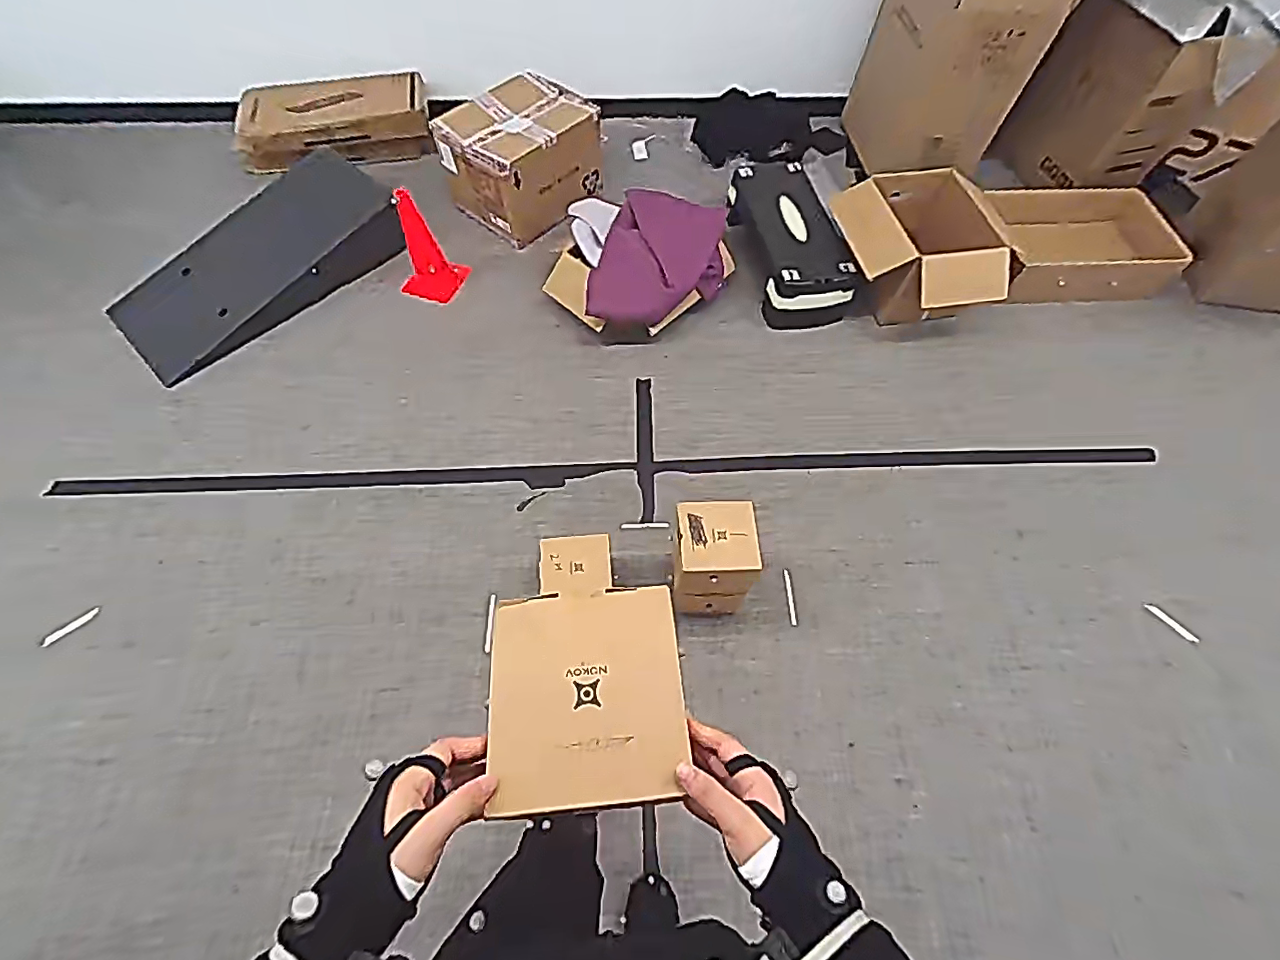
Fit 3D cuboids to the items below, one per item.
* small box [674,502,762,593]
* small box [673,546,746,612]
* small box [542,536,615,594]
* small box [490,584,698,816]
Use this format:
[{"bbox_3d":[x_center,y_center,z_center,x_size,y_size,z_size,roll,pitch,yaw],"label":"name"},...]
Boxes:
[{"bbox_3d":[0.172,0.162,1.259,0.179,0.176,0.168,-1,62,-3],"label":"small box"},{"bbox_3d":[0.175,0.241,1.405,0.168,0.176,0.179,0,63,-1],"label":"small box"},{"bbox_3d":[-0.153,0.254,1.390,0.179,0.176,0.168,-4,62,-2],"label":"small box"},{"bbox_3d":[-0.043,0.219,0.530,0.168,0.176,0.179,-5,58,-3],"label":"small box"}]
